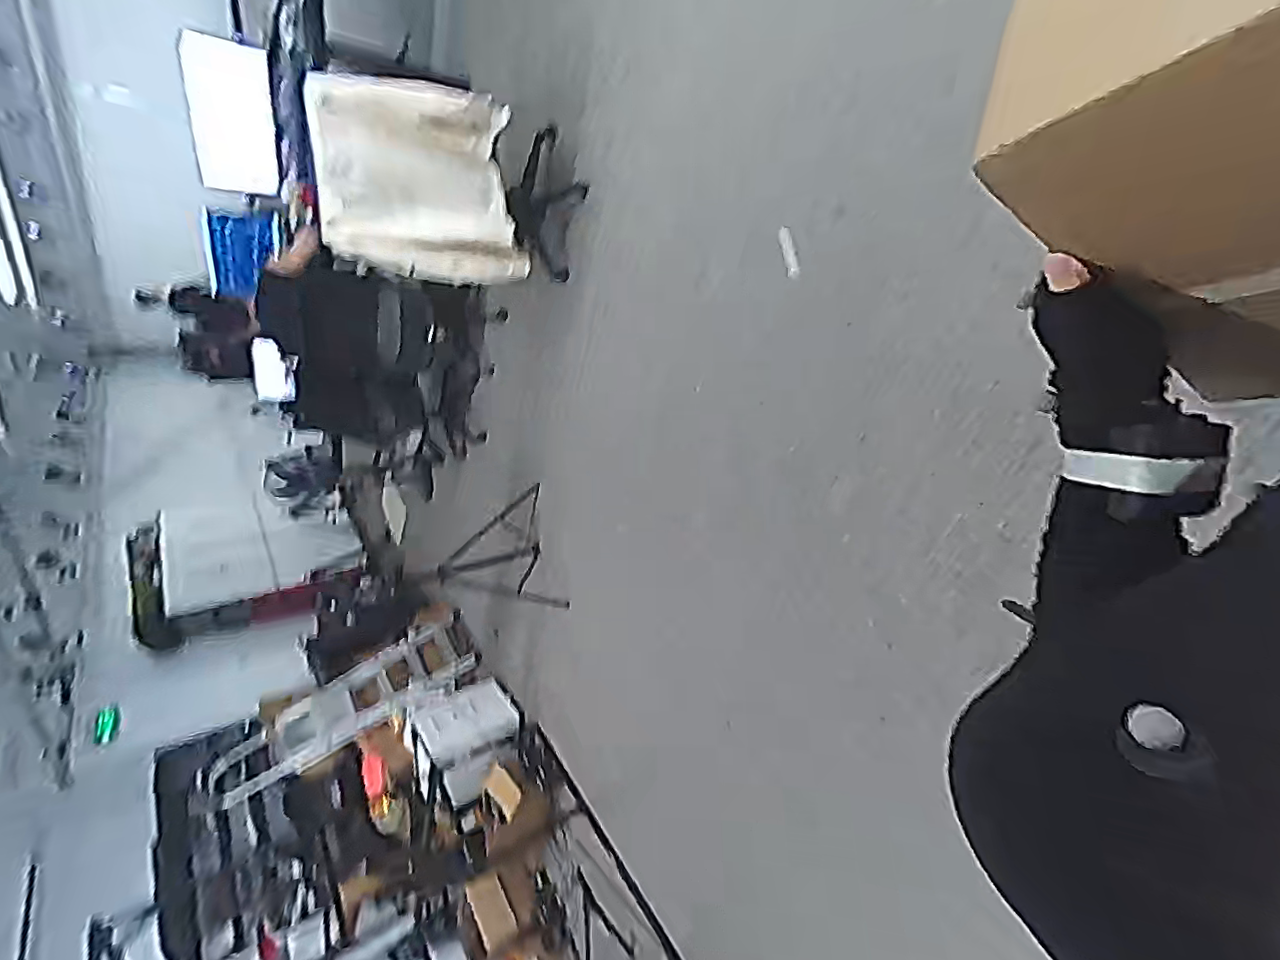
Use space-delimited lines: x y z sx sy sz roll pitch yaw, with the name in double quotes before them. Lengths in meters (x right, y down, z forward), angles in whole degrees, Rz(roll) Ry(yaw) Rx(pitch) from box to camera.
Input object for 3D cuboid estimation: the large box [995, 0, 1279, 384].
"large box" 0.436 -0.255 0.180 0.408 0.320 0.320 6 77 63
